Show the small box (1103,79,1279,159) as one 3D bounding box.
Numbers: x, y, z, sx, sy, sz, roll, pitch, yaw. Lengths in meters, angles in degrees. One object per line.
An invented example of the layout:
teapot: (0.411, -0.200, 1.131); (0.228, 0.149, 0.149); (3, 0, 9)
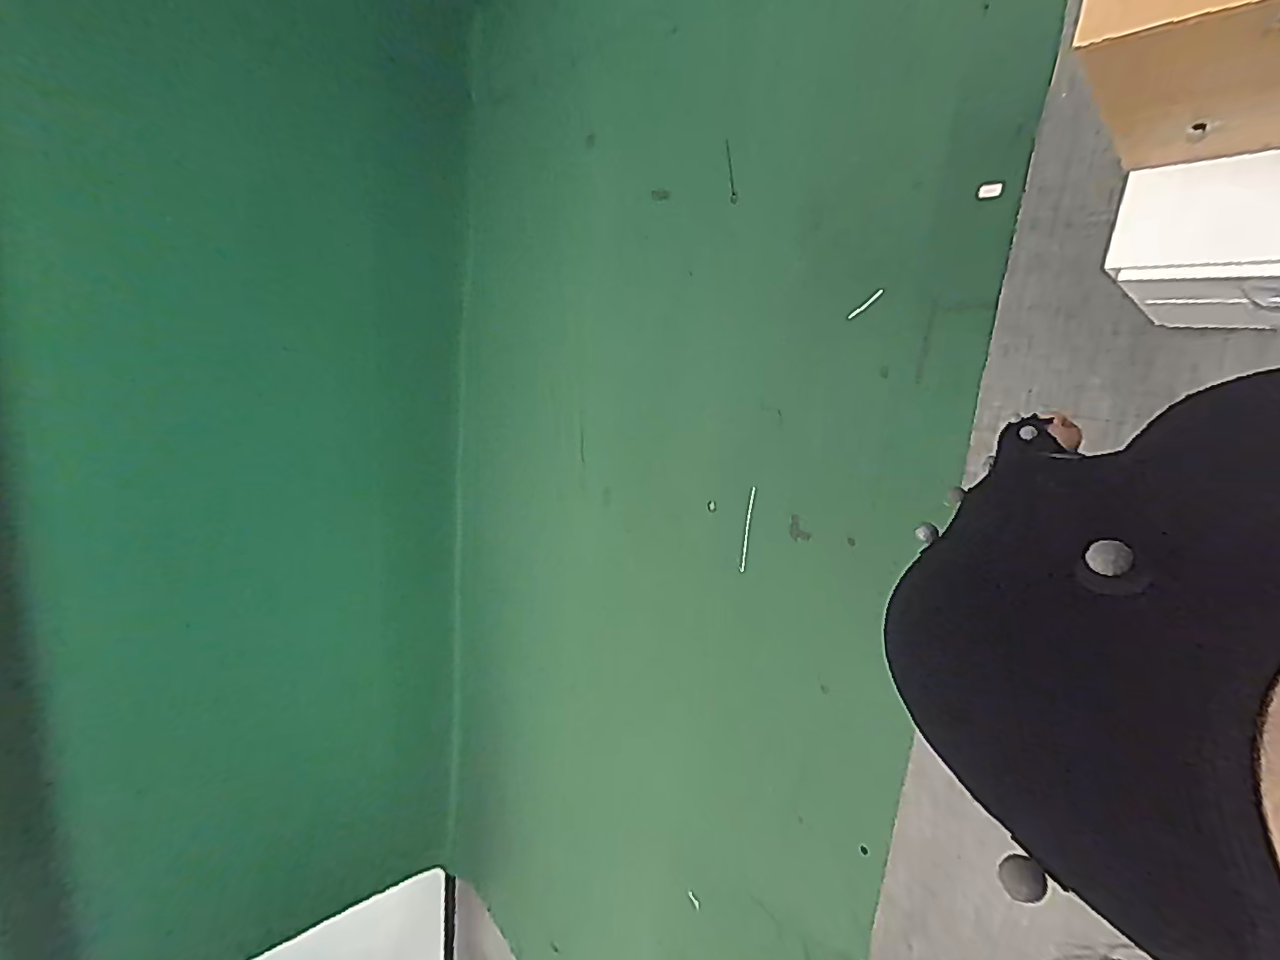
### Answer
small box: (0.628, -0.464, 0.565); (0.179, 0.176, 0.168); (17, 105, 45)

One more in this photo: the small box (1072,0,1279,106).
small box: (0.507, -0.452, 0.455); (0.179, 0.176, 0.168); (19, 106, 43)
